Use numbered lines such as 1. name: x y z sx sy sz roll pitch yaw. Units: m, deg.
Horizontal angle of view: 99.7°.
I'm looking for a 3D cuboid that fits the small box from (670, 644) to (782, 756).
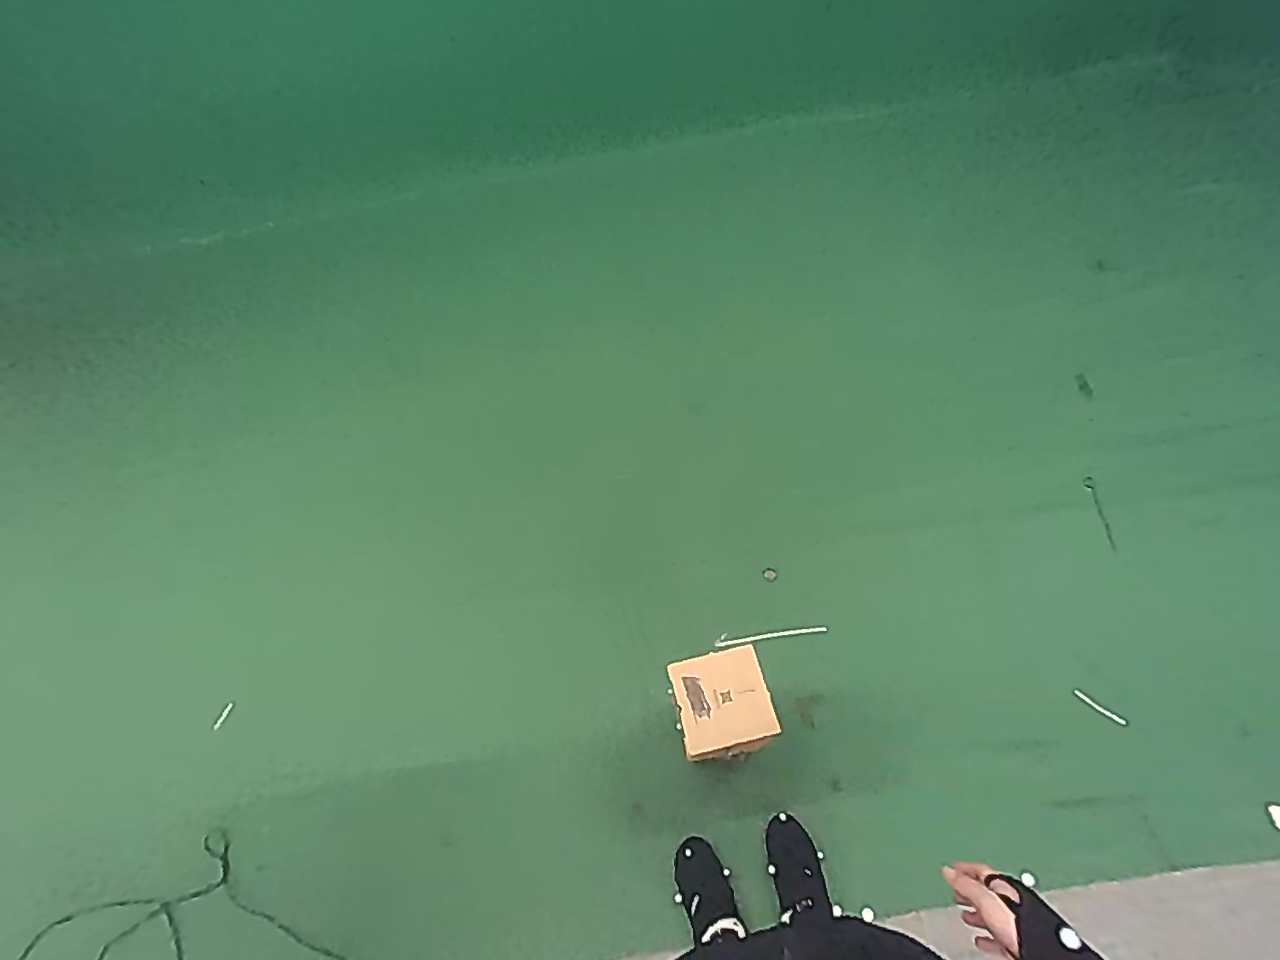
1. small box: 0.169 0.447 1.086 0.179 0.176 0.168 -14 61 -1
